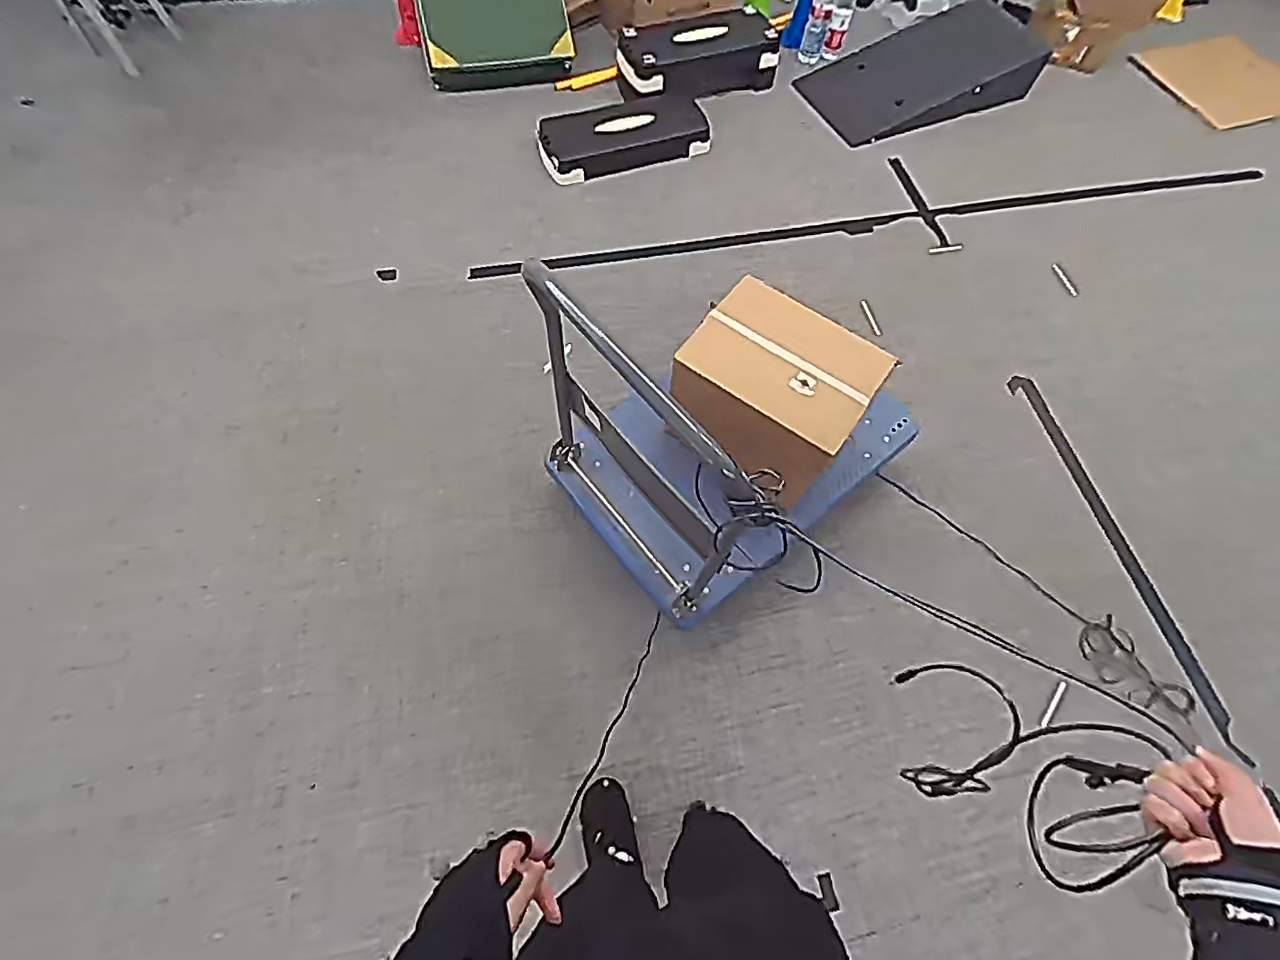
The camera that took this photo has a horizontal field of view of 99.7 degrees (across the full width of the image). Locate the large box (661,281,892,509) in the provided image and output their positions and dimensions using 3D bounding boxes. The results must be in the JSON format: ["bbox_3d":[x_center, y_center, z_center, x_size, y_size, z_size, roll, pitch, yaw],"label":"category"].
[{"bbox_3d":[0.307,-0.200,1.325,0.408,0.320,0.320,34,69,12],"label":"large box"}]
